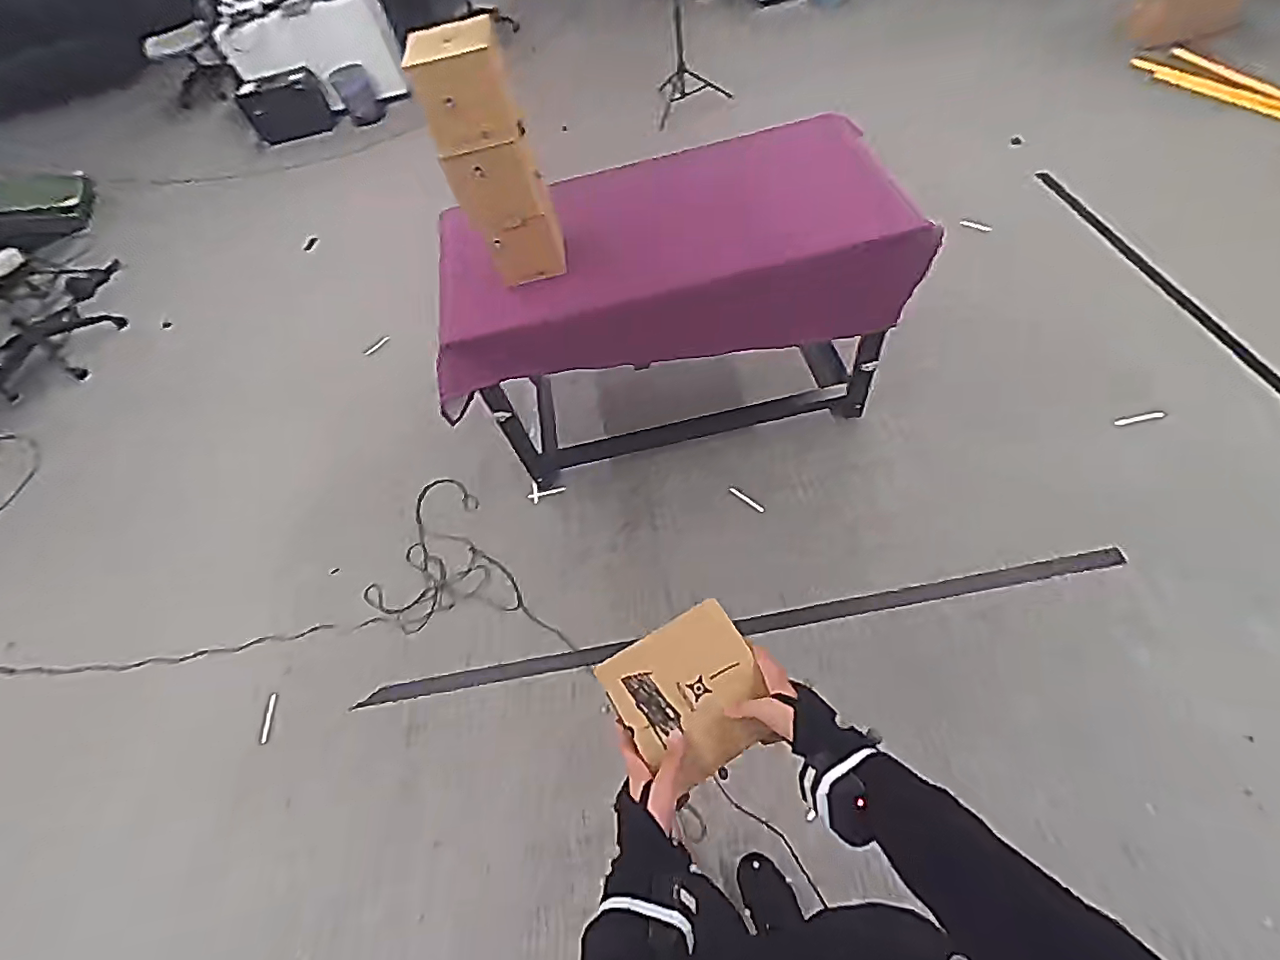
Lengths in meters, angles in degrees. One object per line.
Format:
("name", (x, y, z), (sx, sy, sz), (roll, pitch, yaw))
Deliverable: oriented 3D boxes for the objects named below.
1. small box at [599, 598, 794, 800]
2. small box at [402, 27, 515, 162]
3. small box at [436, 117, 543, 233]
("small box", (0.064, 0.287, 0.700), (0.179, 0.176, 0.168), (-26, 64, -15))
("small box", (-0.363, -0.782, 1.111), (0.168, 0.176, 0.179), (-12, 55, 3))
("small box", (-0.339, -0.697, 1.248), (0.179, 0.176, 0.168), (-6, 57, 6))
